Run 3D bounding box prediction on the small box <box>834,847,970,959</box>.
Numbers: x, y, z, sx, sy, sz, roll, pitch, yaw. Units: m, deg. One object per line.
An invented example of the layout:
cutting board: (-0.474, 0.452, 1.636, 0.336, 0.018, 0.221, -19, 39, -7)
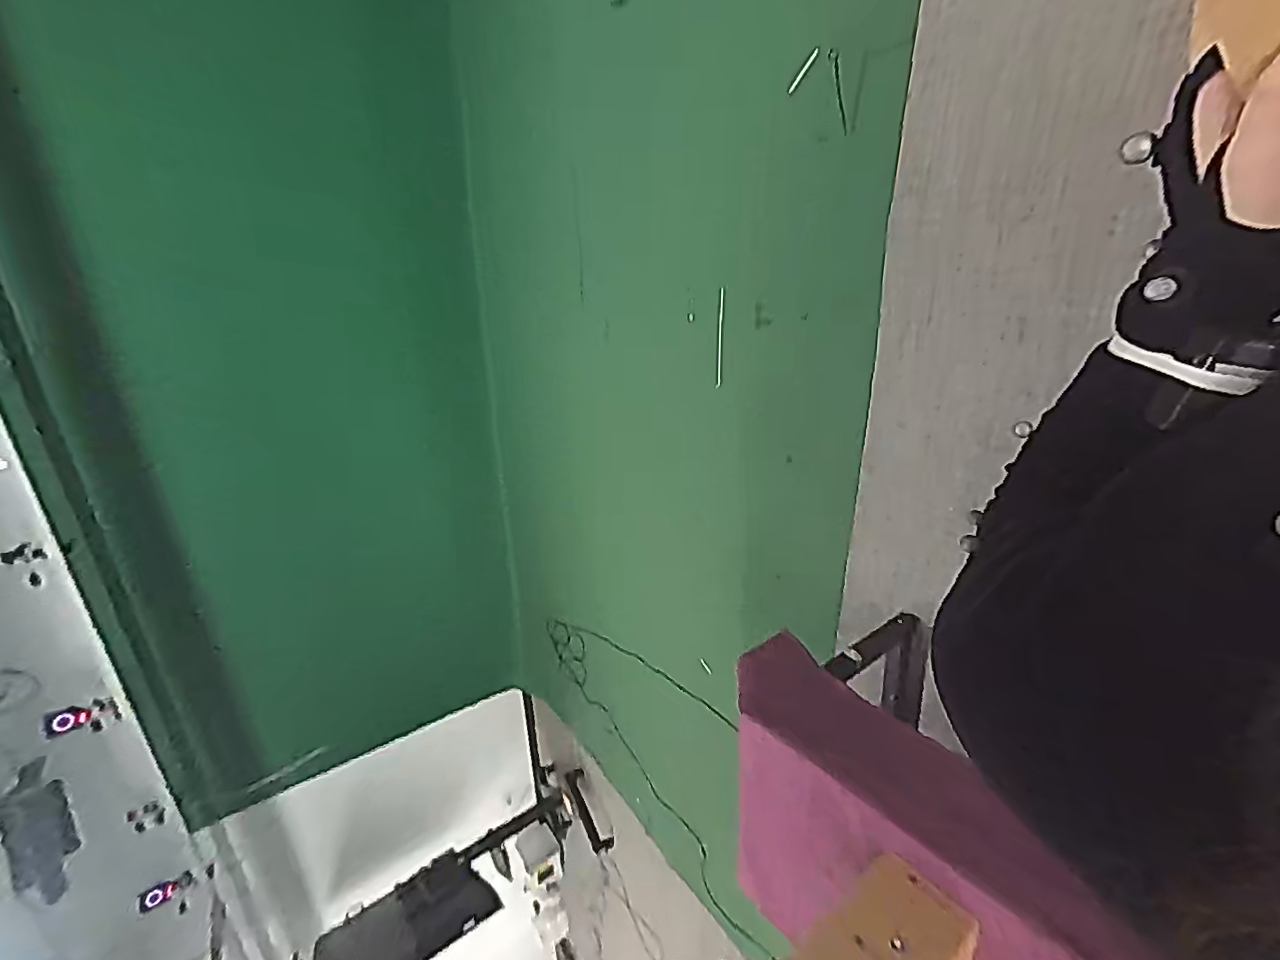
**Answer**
small box: (0.464, 0.824, 0.970, 0.168, 0.176, 0.179, 19, 119, 49)
